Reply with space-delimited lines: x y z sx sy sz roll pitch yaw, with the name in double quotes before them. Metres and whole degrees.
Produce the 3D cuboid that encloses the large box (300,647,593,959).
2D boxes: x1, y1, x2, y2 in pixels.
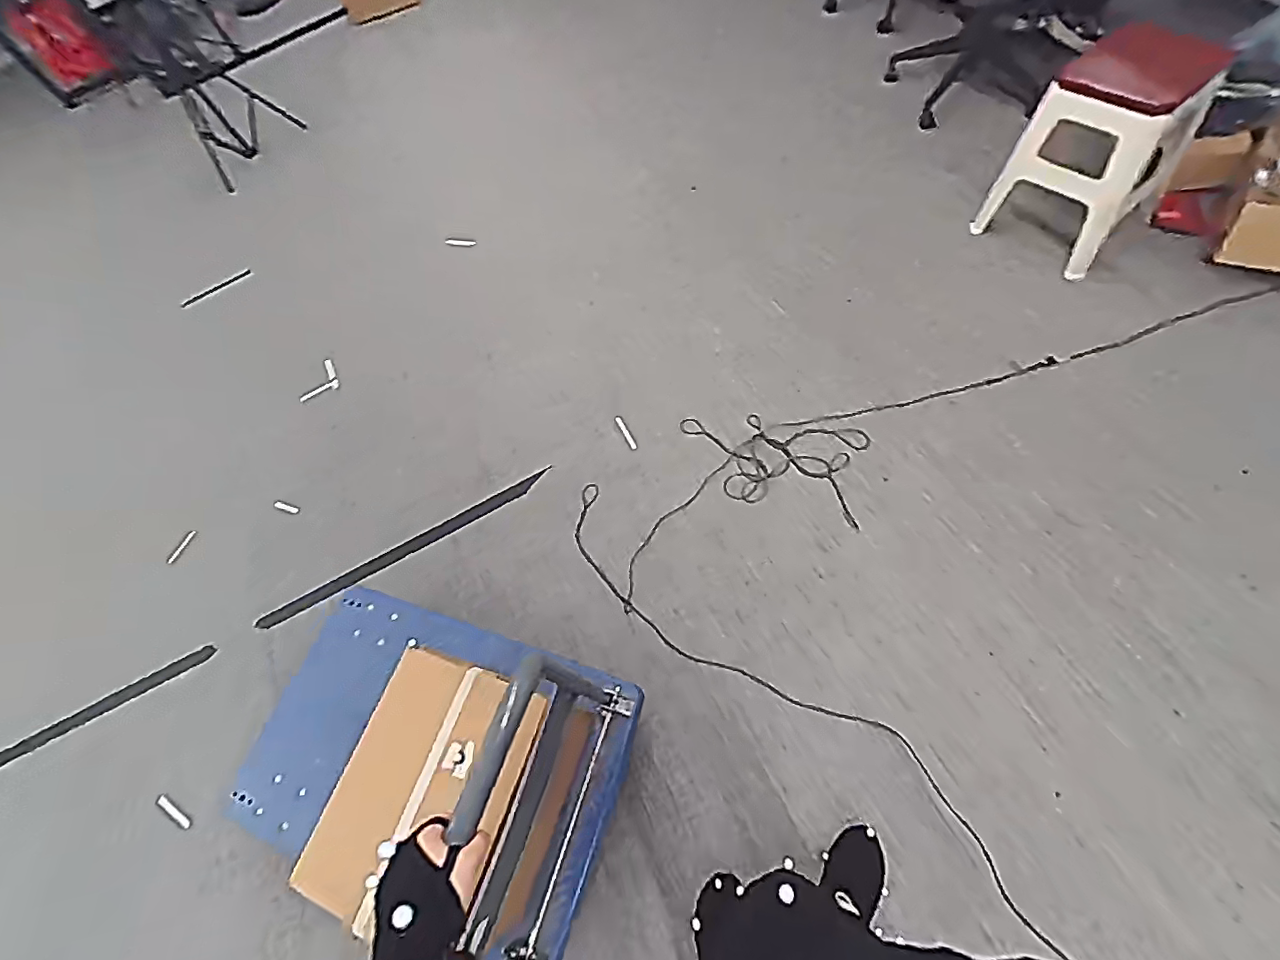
"large box" -0.331 0.594 1.044 0.320 0.320 0.408 13 65 18
